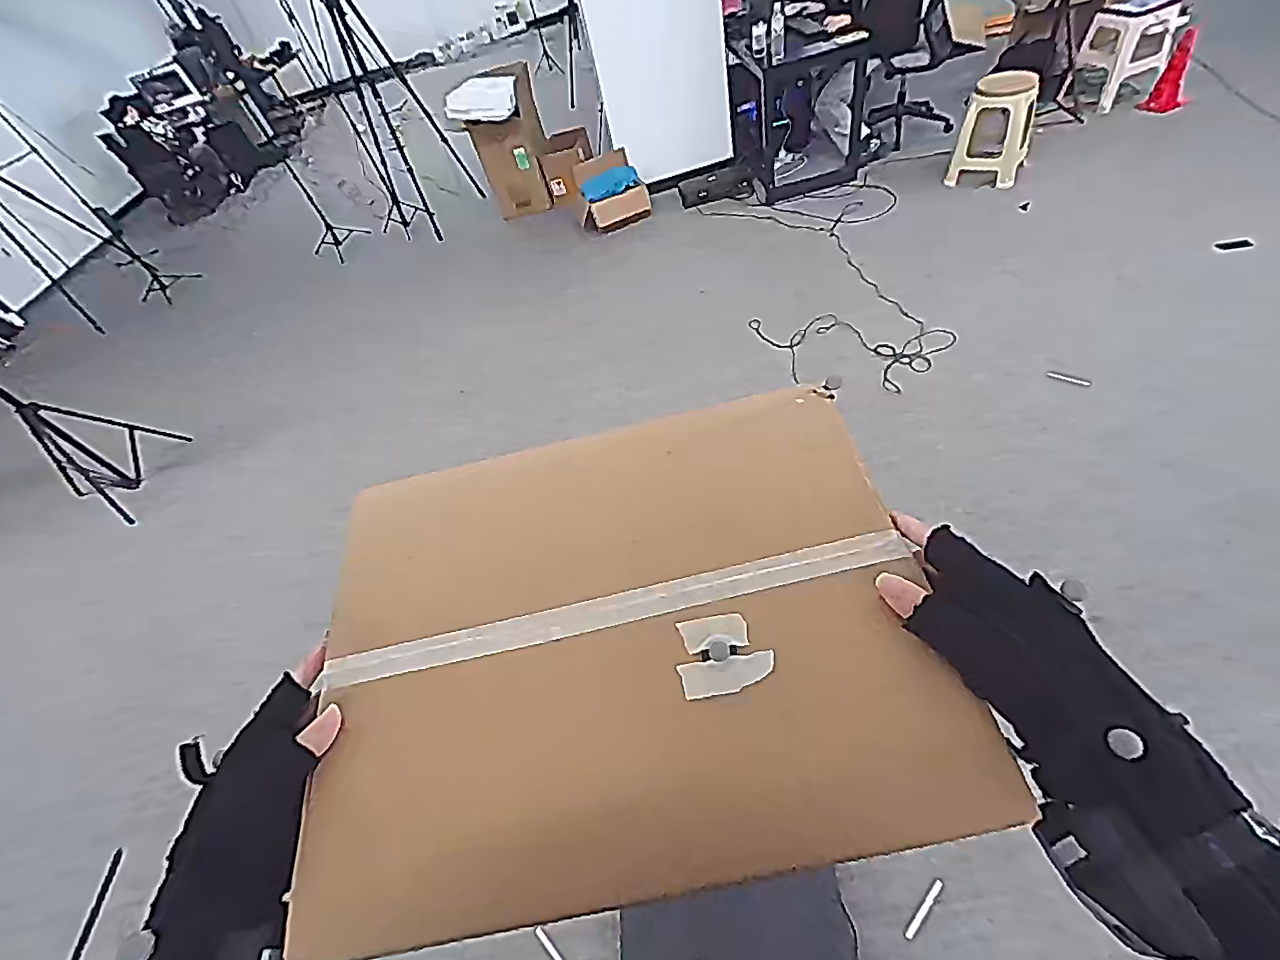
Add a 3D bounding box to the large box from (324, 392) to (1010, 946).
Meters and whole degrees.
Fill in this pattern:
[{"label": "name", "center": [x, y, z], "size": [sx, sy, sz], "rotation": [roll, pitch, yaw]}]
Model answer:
[{"label": "large box", "center": [0.008, 0.174, 0.505], "size": [0.408, 0.320, 0.320], "rotation": [-13, 56, 2]}]
